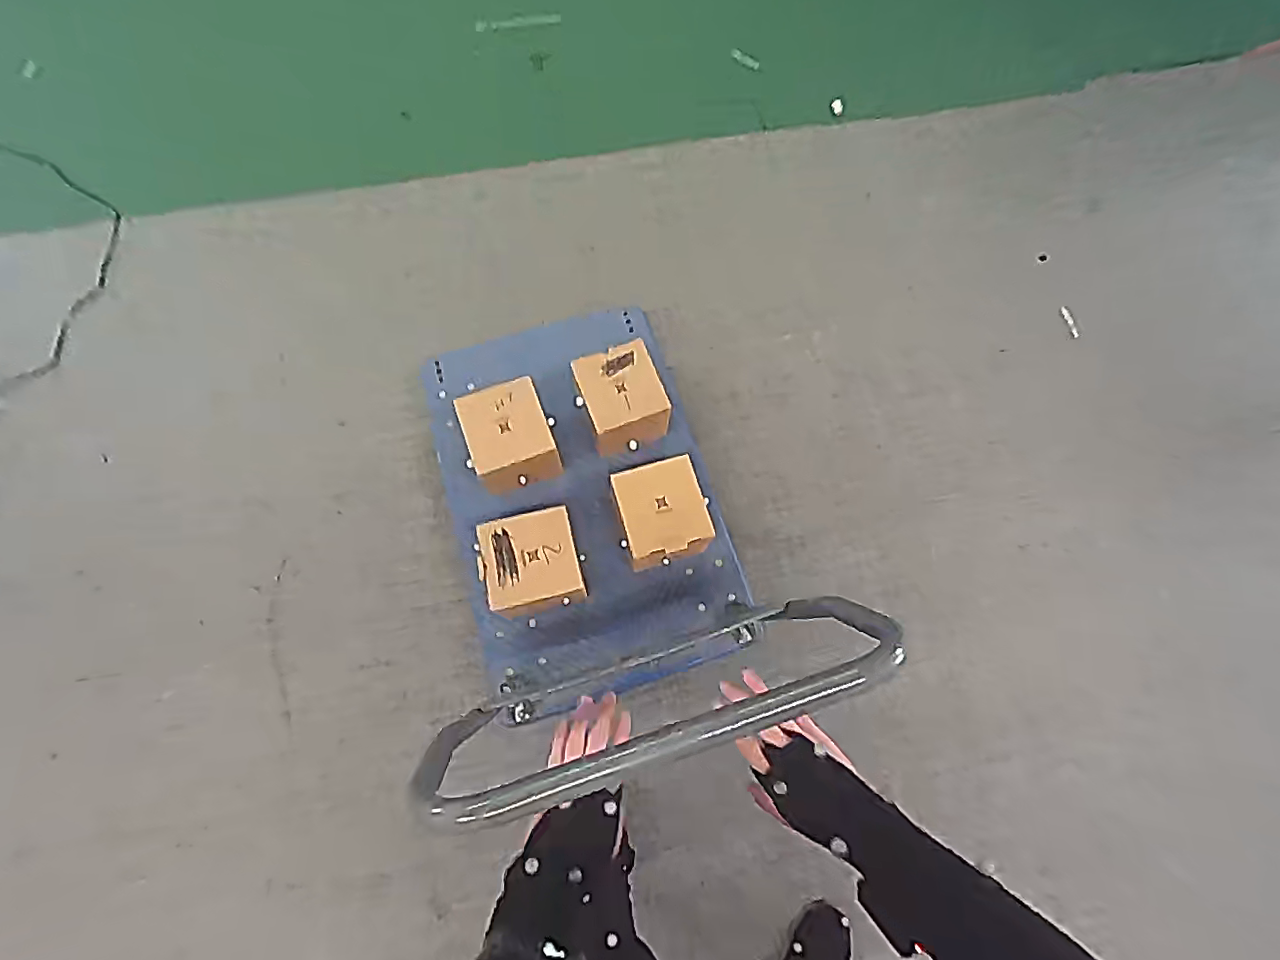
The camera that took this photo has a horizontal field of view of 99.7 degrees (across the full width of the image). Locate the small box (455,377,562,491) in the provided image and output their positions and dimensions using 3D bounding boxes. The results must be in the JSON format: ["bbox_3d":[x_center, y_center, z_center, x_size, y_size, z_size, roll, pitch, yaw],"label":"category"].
[{"bbox_3d":[-0.273,-0.089,1.161,0.168,0.176,0.179,-19,74,-9],"label":"small box"}]

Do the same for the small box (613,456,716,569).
[{"bbox_3d":[0.042,0.073,1.125,0.168,0.176,0.179,-15,74,-7],"label":"small box"}]

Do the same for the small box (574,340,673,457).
[{"bbox_3d":[-0.039,-0.175,1.196,0.168,0.176,0.179,-20,76,-7],"label":"small box"}]
